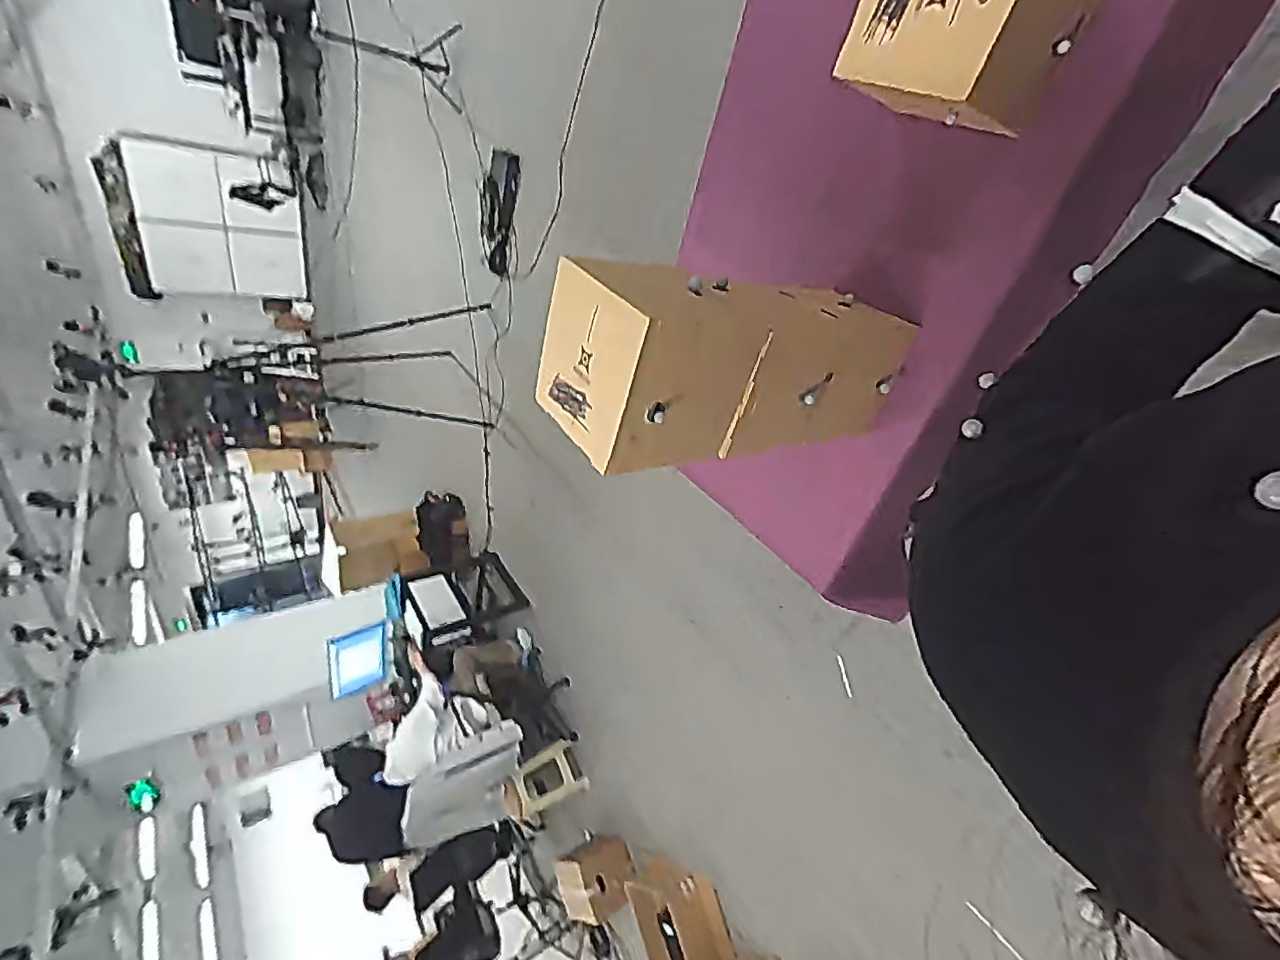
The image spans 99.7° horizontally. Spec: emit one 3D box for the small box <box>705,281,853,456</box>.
[{"bbox_3d":[0.139,-0.152,0.715,0.179,0.176,0.168,44,131,36],"label":"small box"}]

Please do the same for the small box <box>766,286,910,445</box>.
[{"bbox_3d":[0.271,-0.175,0.813,0.168,0.176,0.179,43,129,38],"label":"small box"}]

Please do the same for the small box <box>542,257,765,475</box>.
[{"bbox_3d":[0.011,-0.130,0.613,0.168,0.176,0.179,46,131,36],"label":"small box"}]
